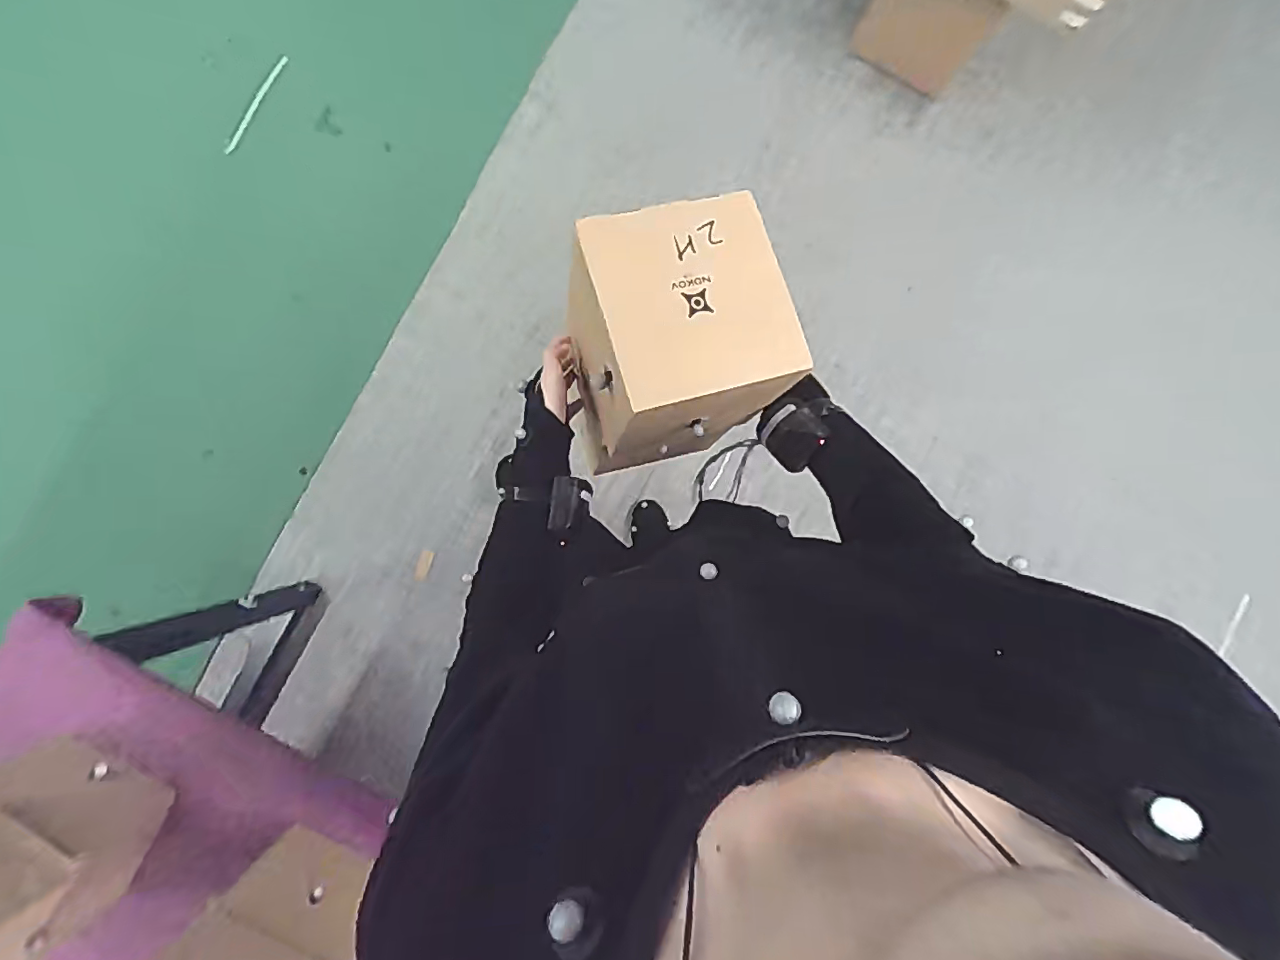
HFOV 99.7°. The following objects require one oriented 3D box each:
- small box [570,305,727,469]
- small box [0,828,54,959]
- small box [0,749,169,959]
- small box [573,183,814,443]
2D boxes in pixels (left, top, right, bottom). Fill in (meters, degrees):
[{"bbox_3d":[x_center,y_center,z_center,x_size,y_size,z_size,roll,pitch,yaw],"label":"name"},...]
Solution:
[{"bbox_3d":[0.012,-0.121,0.684,0.179,0.176,0.168,-12,81,-11],"label":"small box"},{"bbox_3d":[-0.733,0.449,0.501,0.168,0.176,0.179,36,87,0],"label":"small box"},{"bbox_3d":[-0.757,0.466,0.664,0.179,0.176,0.168,28,88,-1],"label":"small box"},{"bbox_3d":[0.035,-0.144,0.522,0.168,0.176,0.179,-14,81,-11],"label":"small box"}]
